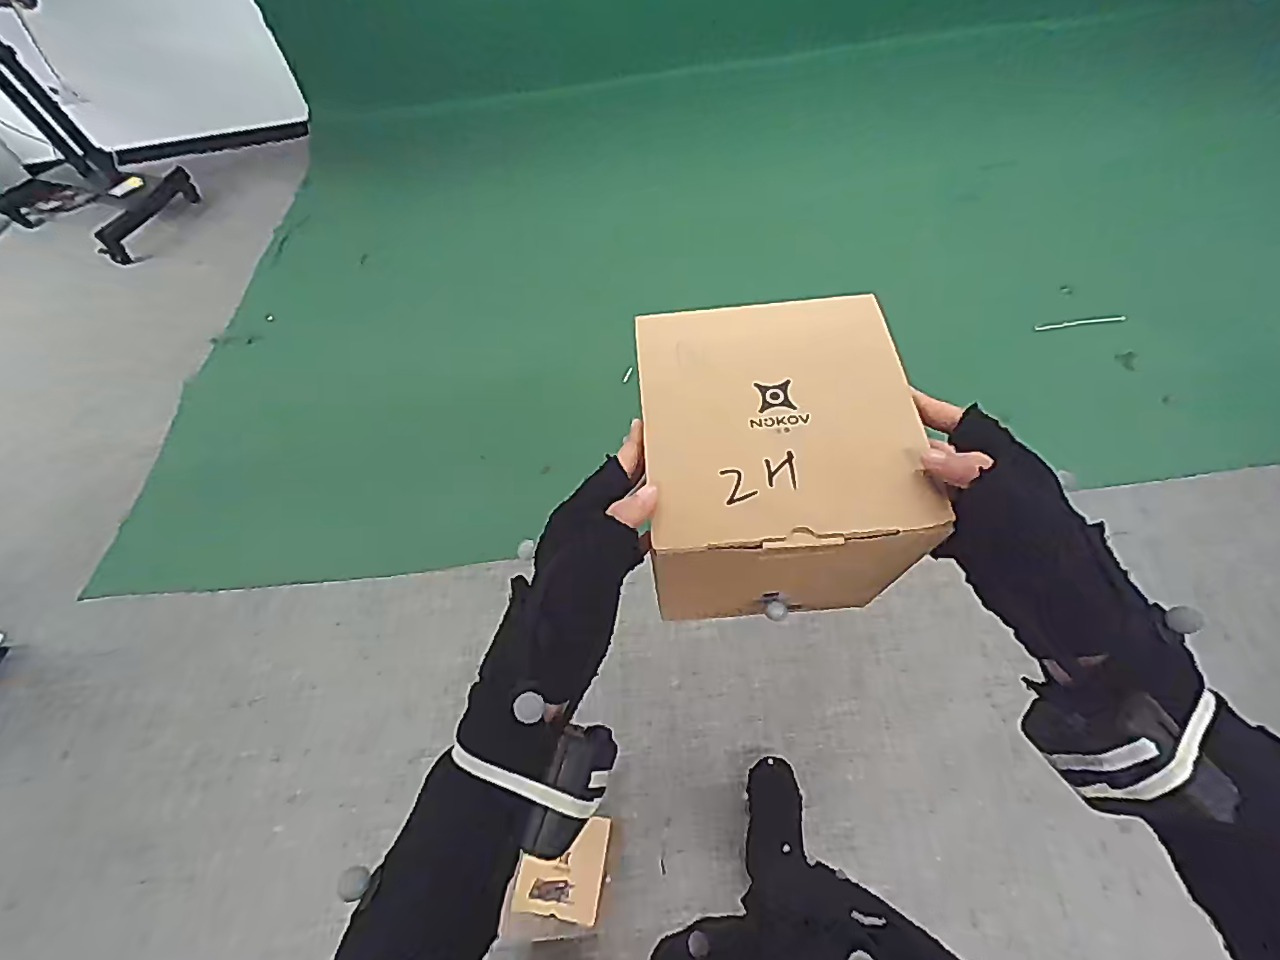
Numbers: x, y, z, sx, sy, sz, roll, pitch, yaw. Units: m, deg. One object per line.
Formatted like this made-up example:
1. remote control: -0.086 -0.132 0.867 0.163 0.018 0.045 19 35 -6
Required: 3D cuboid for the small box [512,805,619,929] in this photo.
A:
1. small box: -0.143 0.796 1.124 0.168 0.176 0.179 5 56 9
